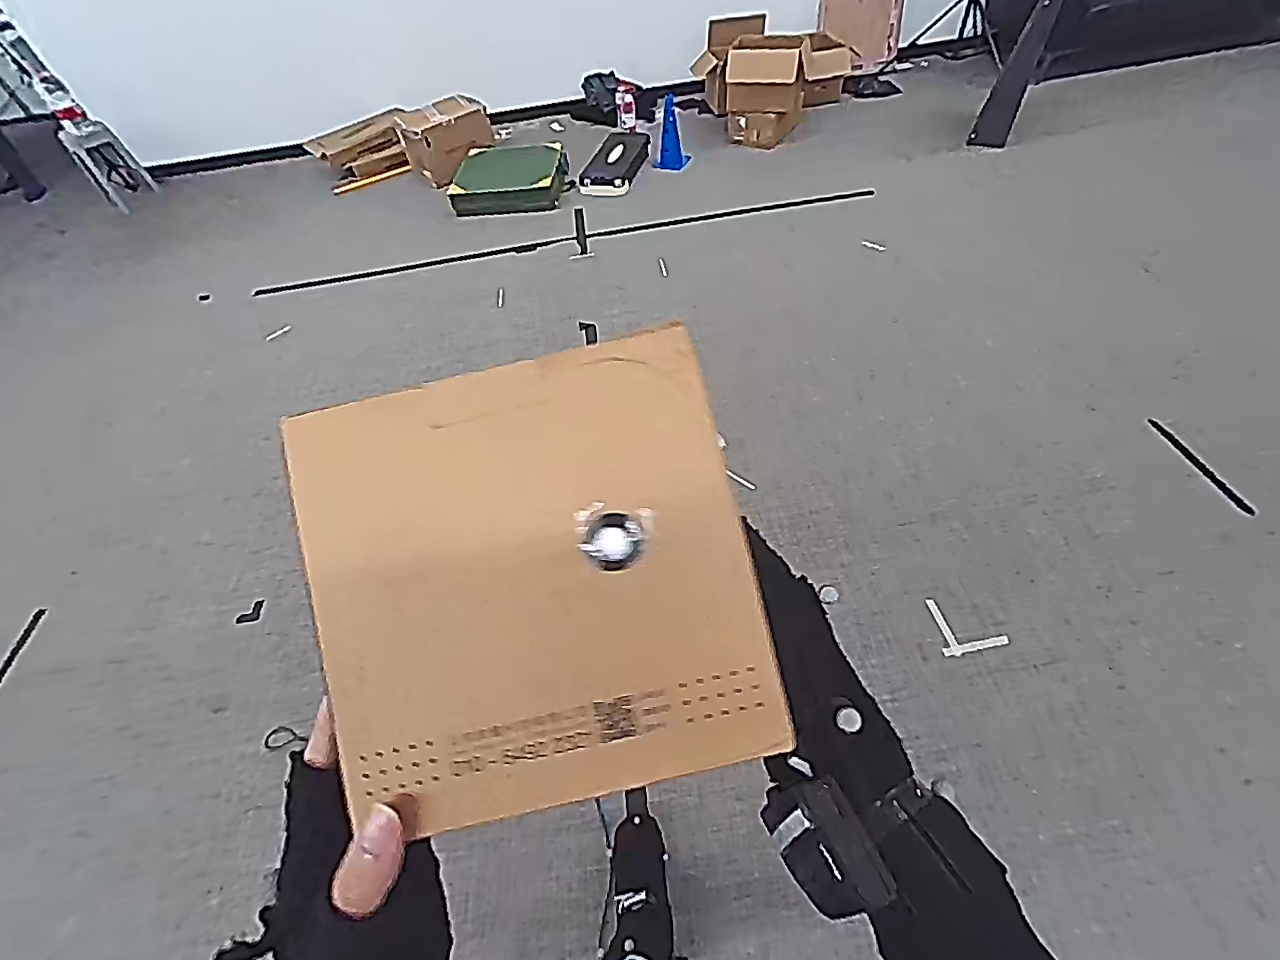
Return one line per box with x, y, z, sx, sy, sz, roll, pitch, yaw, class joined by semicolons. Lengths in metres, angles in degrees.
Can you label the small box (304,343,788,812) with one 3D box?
-0.035;0.049;0.290;0.168;0.179;0.176;-12;86;-1;small box
